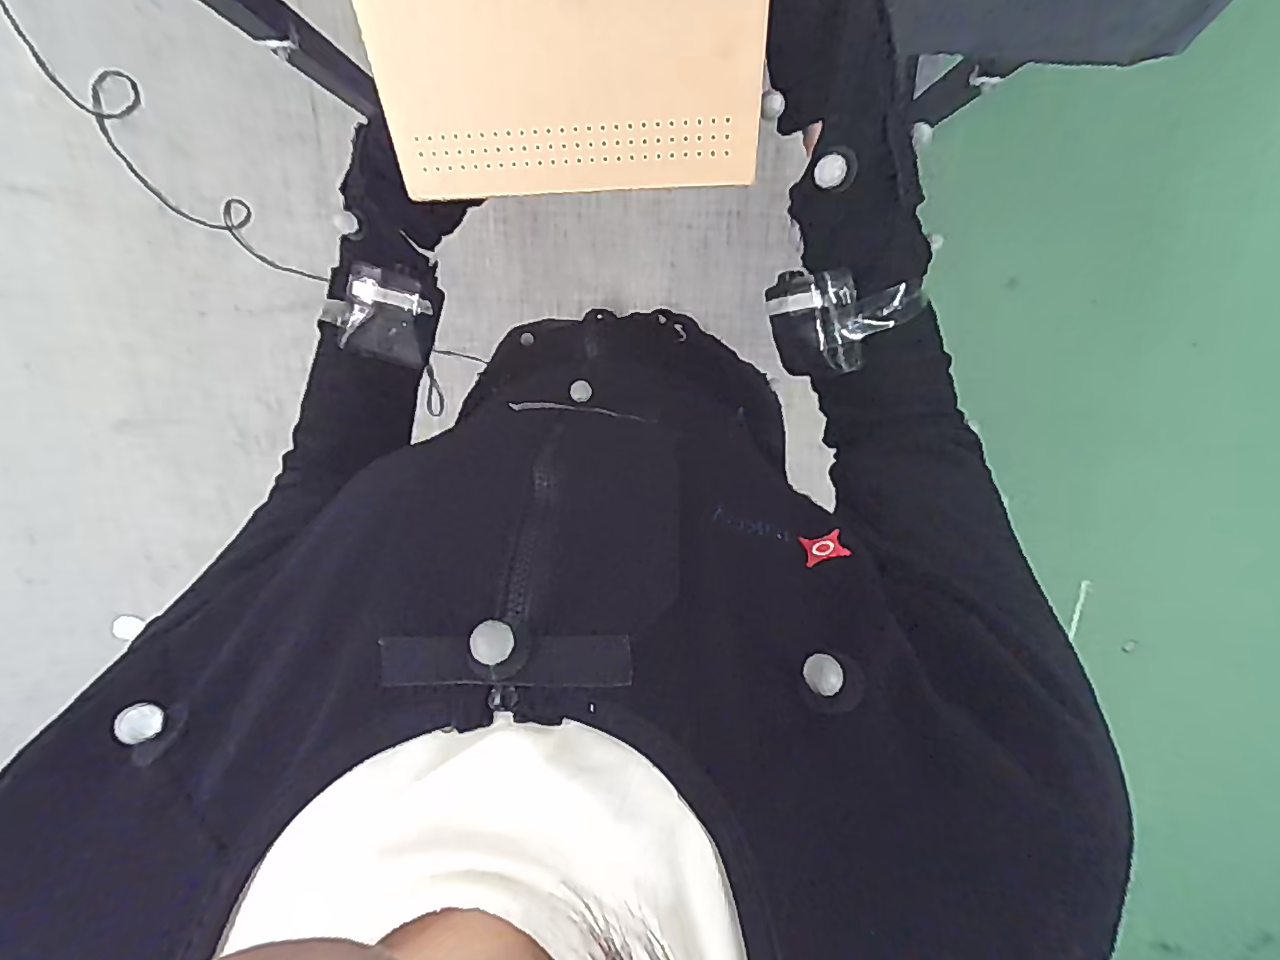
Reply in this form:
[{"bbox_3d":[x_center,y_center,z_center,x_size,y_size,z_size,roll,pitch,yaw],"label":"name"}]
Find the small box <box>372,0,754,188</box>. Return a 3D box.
[{"bbox_3d":[-0.030,-0.268,0.291,0.179,0.168,0.176,0,129,5],"label":"small box"}]
